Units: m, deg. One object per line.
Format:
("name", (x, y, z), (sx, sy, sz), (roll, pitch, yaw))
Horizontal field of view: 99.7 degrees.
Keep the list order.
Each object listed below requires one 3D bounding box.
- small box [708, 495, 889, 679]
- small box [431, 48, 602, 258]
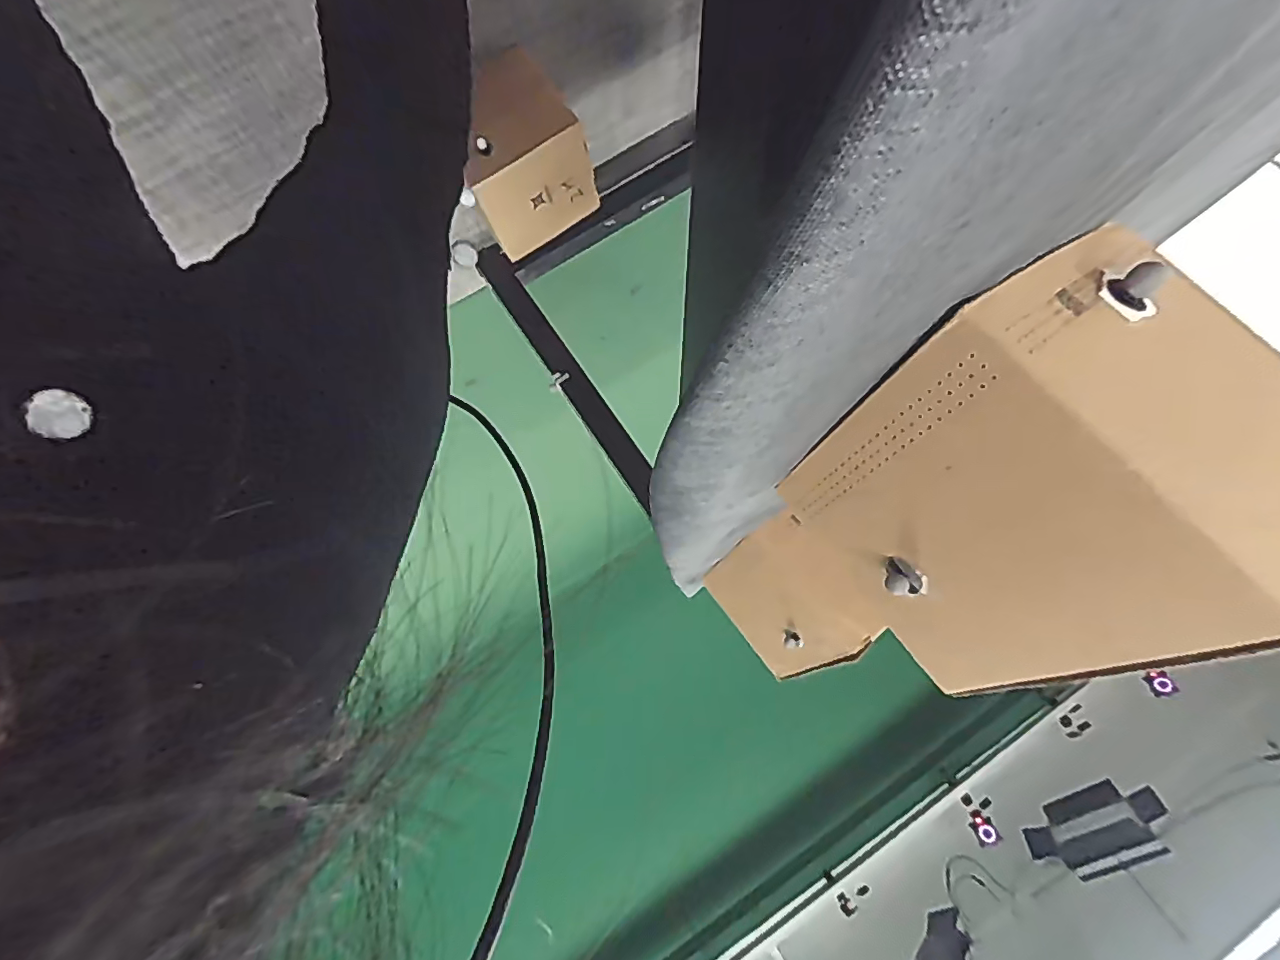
("small box", (0.213, 0.119, 0.684), (0.168, 0.176, 0.179), (-30, 164, -27))
("small box", (-0.185, -0.484, 0.812), (0.179, 0.176, 0.168), (-34, 166, -2))
